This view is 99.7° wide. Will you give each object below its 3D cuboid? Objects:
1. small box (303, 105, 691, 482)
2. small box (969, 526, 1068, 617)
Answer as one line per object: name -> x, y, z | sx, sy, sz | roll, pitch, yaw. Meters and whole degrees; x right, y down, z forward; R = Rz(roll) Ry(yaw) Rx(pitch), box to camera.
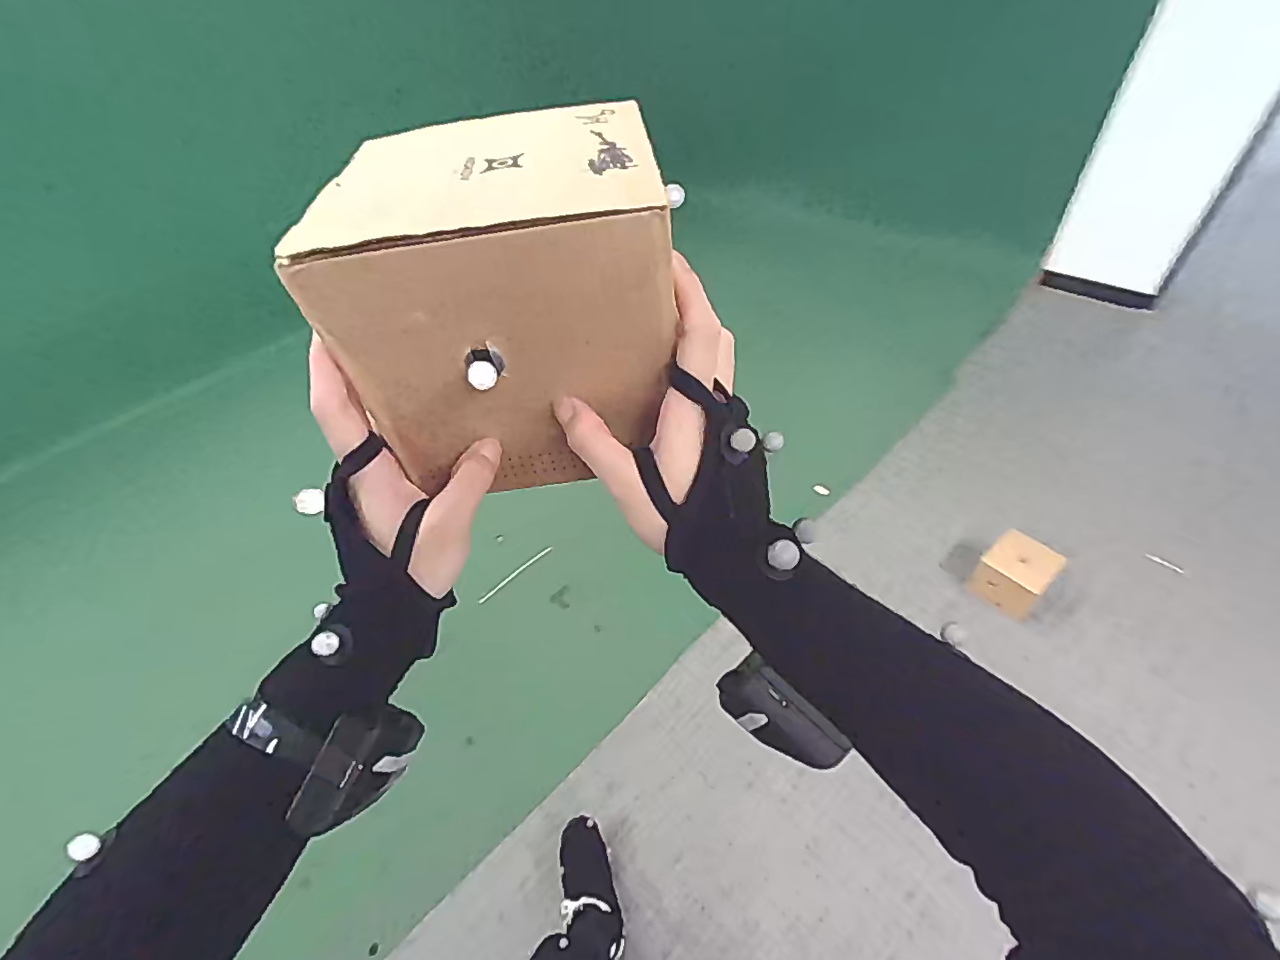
small box -> -0.067, -0.115, 0.357 | 0.179, 0.176, 0.168 | -8, 49, 3
small box -> 1.131, 0.279, 1.634 | 0.179, 0.176, 0.168 | -34, 52, -21
